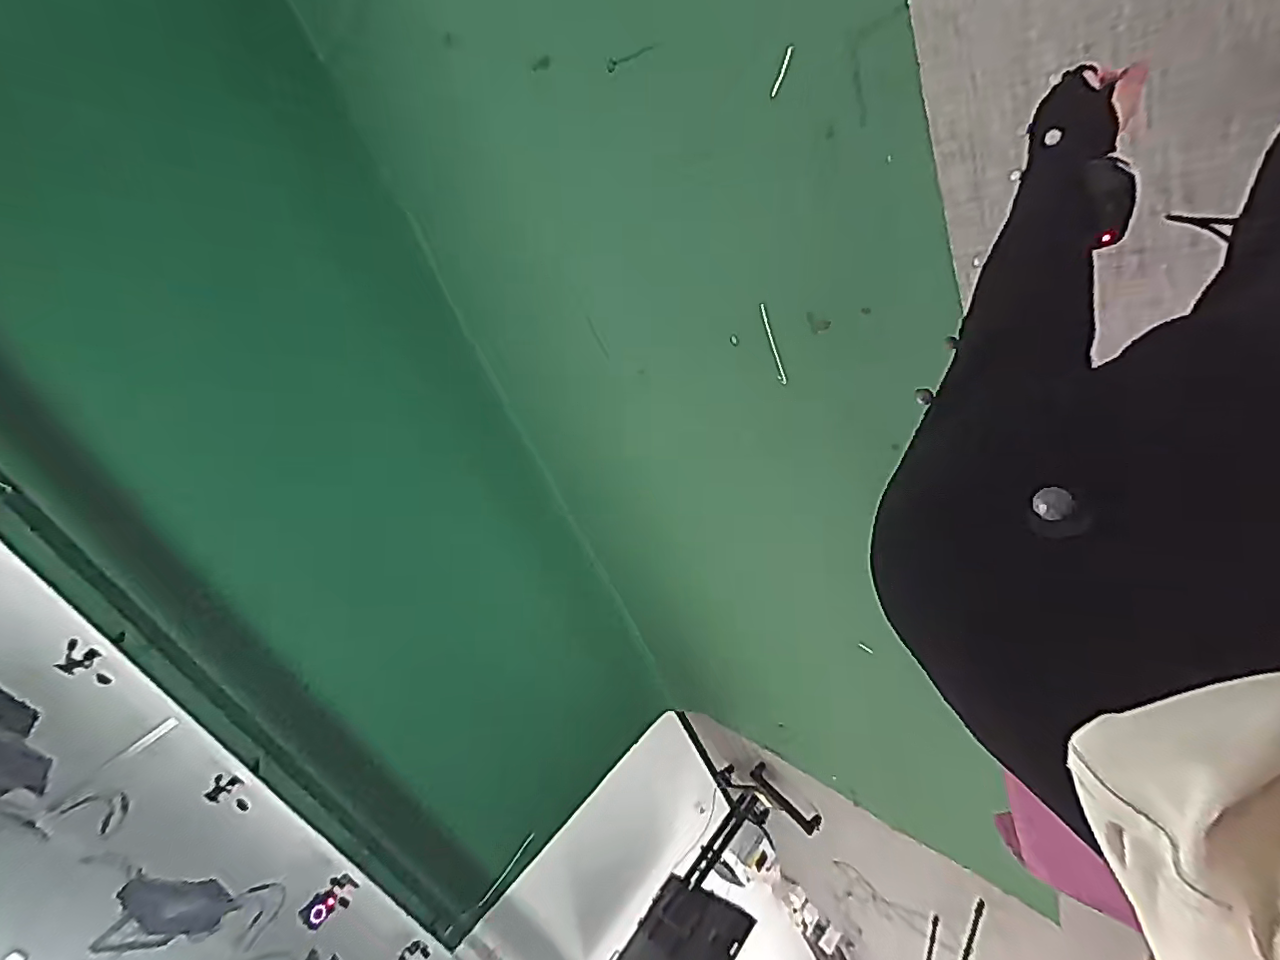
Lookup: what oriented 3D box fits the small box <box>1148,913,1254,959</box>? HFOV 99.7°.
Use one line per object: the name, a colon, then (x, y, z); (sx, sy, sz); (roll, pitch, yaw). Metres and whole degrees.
small box: (0.990, 0.911, 0.931); (0.168, 0.176, 0.179); (6, 128, 53)
